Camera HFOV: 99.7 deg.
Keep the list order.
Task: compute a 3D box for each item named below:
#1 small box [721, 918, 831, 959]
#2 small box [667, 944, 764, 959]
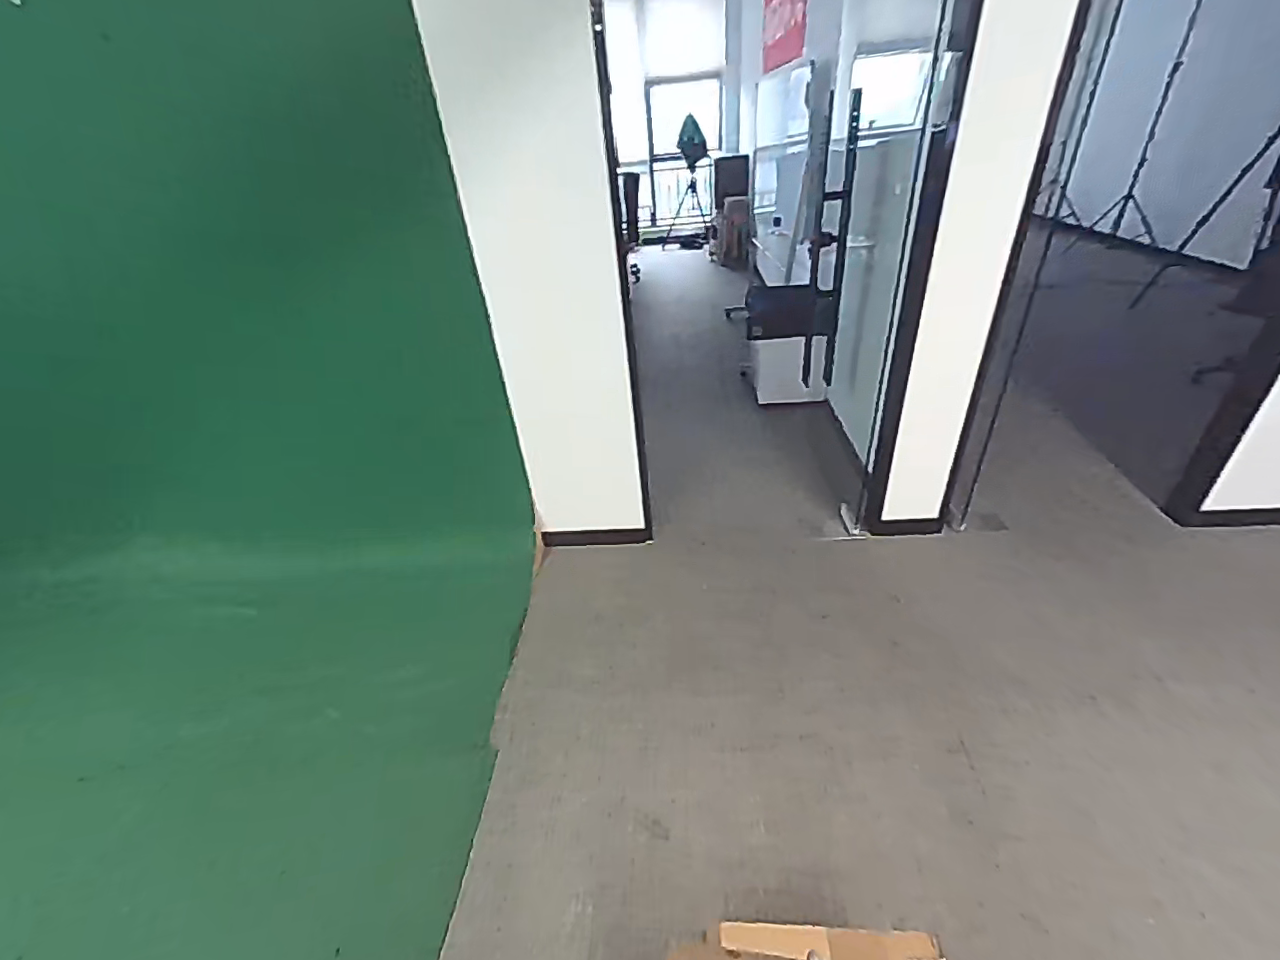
[{"bbox_3d":[0.209,0.814,0.823,0.168,0.176,0.179,-3,30,7],"label":"small box"},{"bbox_3d":[0.092,0.492,0.408,0.168,0.176,0.179,2,65,7],"label":"small box"}]
